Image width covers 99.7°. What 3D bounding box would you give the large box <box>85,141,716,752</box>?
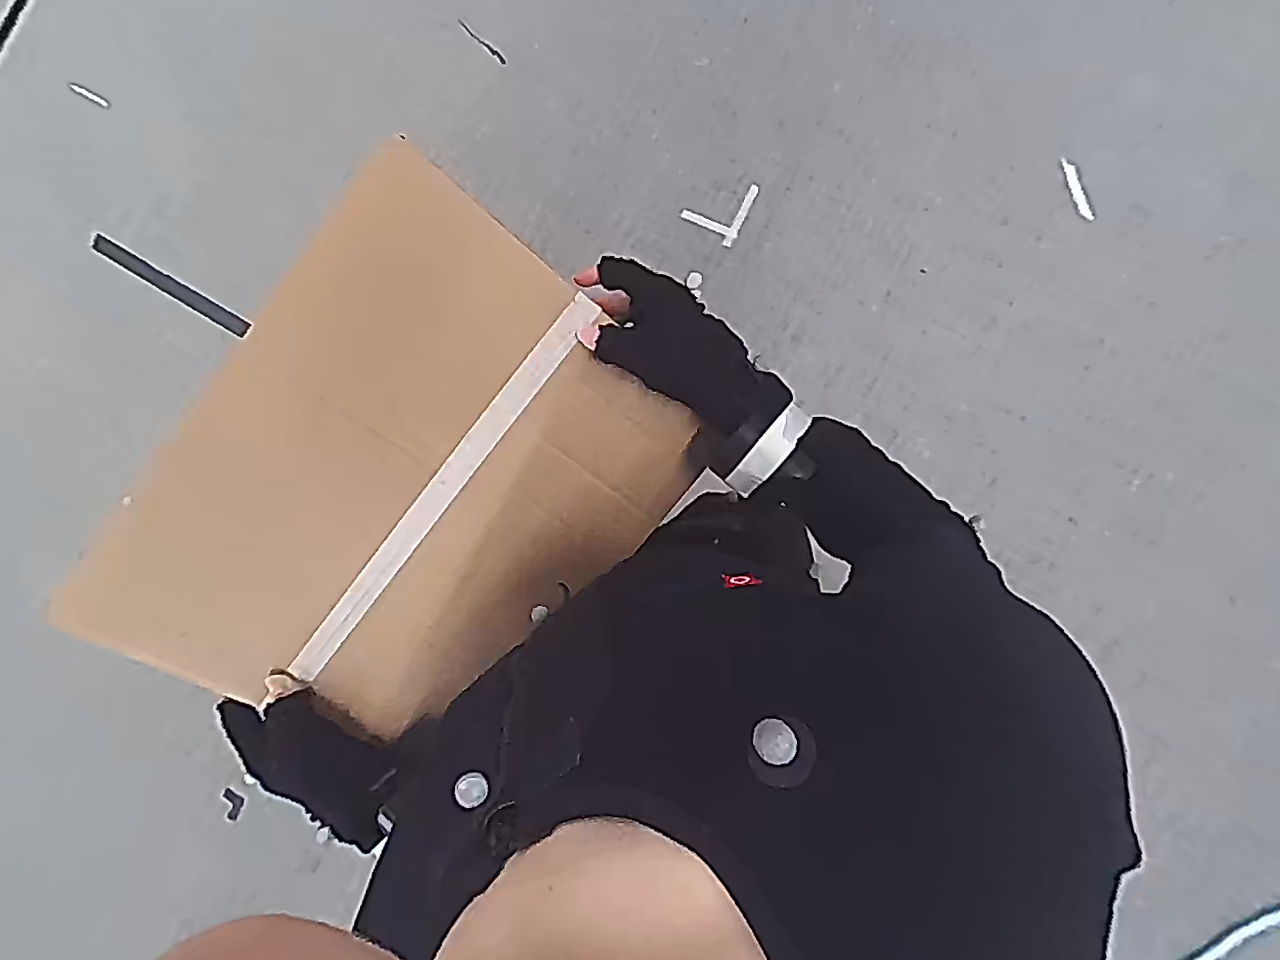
[{"bbox_3d":[-0.202,-0.028,0.559,0.320,0.320,0.408,37,97,-23],"label":"large box"}]
